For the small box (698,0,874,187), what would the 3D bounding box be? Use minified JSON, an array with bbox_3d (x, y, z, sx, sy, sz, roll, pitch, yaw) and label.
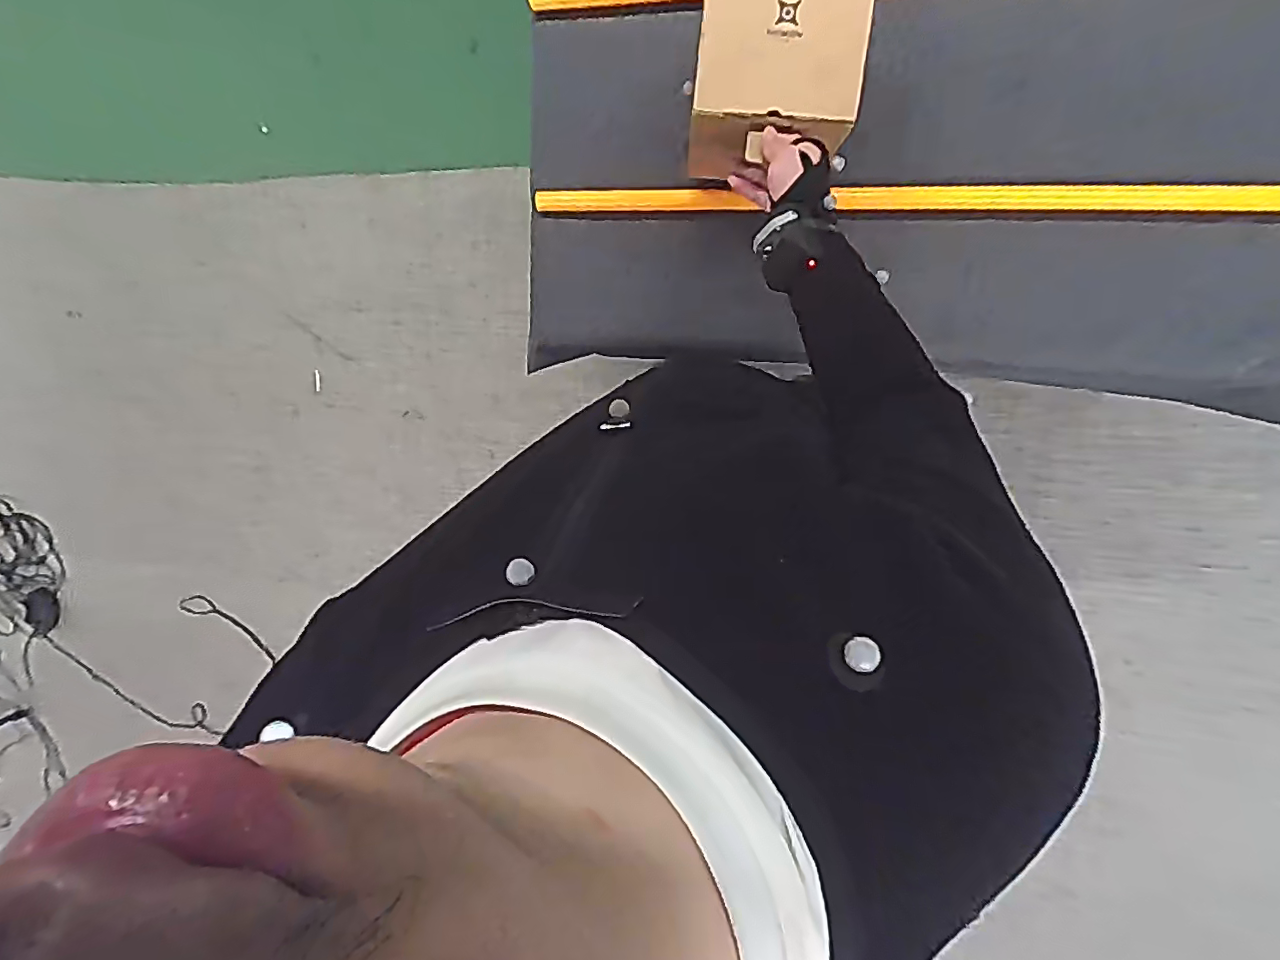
[{"bbox_3d":[0.156,-0.457,0.622,0.168,0.176,0.179,4,99,5],"label":"small box"}]
